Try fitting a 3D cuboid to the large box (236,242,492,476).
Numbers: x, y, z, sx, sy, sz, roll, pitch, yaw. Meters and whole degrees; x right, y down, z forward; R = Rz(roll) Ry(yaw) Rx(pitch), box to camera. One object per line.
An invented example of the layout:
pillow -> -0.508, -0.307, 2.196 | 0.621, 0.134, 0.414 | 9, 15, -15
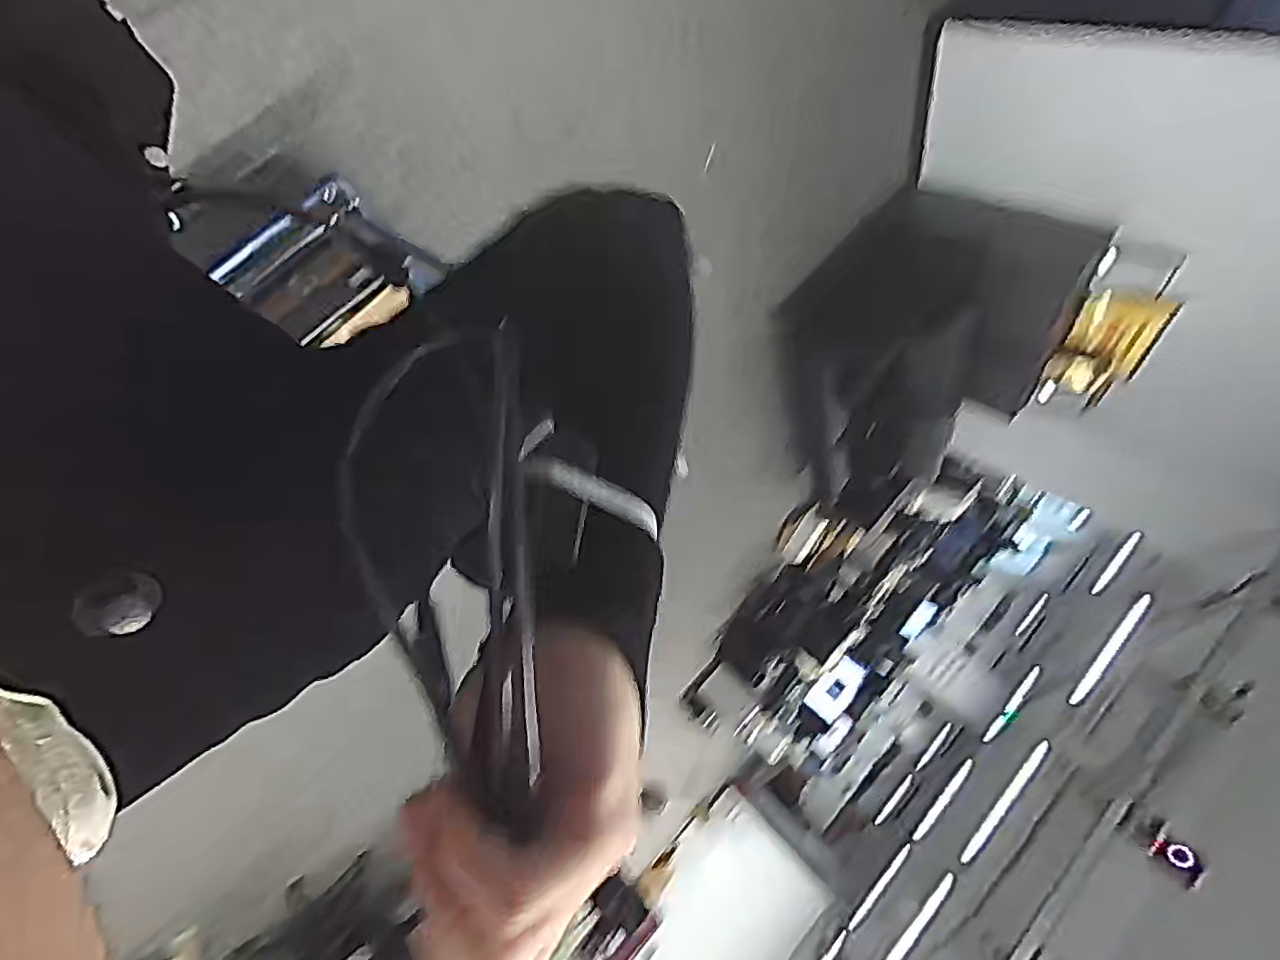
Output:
large box -> -0.649, -0.286, 1.316 | 0.320, 0.320, 0.408 | -46, 147, -11
